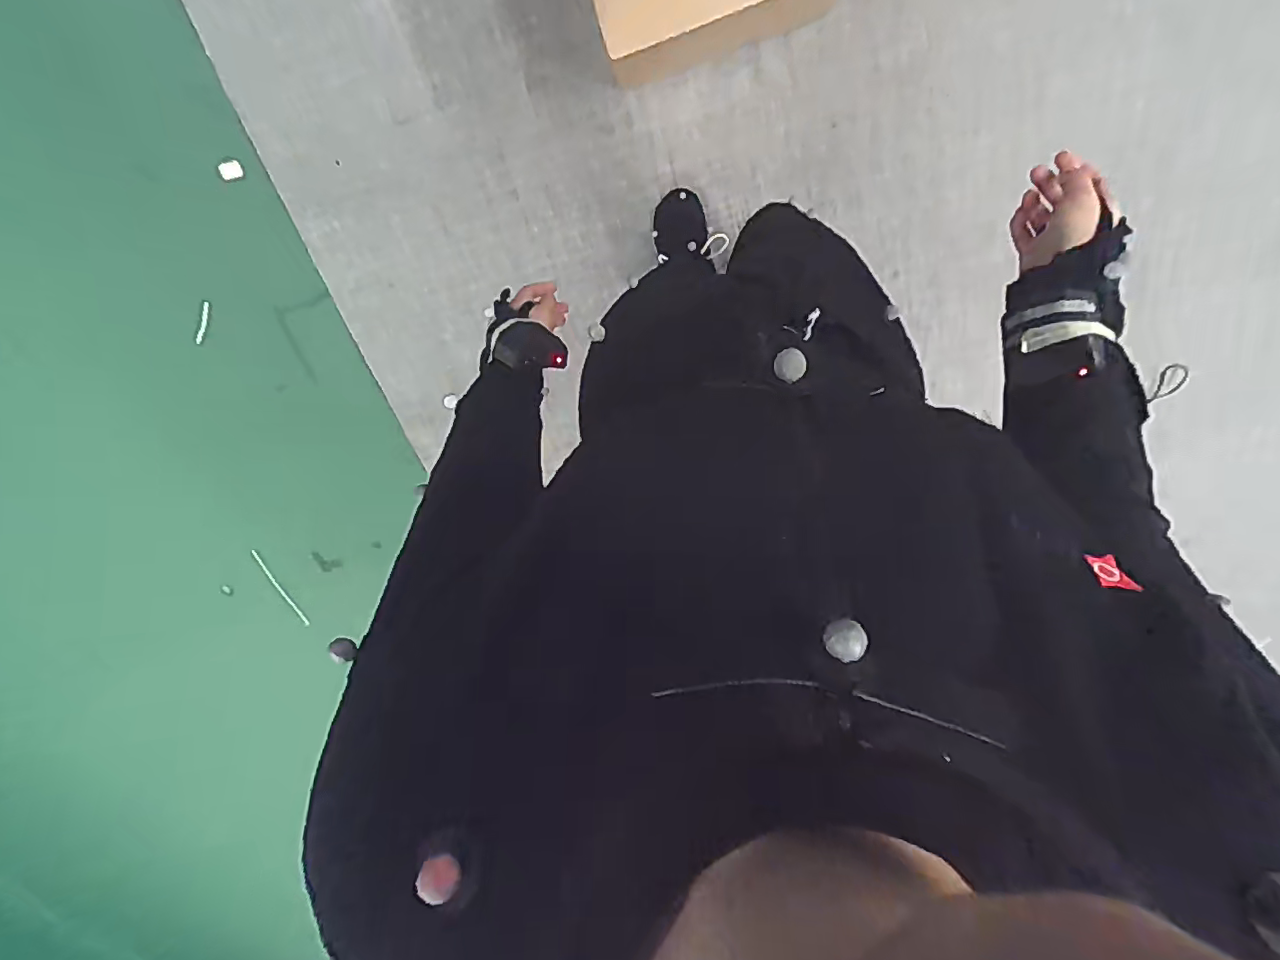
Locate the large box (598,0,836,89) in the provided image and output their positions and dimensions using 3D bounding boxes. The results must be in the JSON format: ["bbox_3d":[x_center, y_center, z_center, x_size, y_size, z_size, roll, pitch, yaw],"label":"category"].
[{"bbox_3d":[0.110,-0.862,0.817,0.408,0.320,0.320,-15,118,9],"label":"large box"}]
